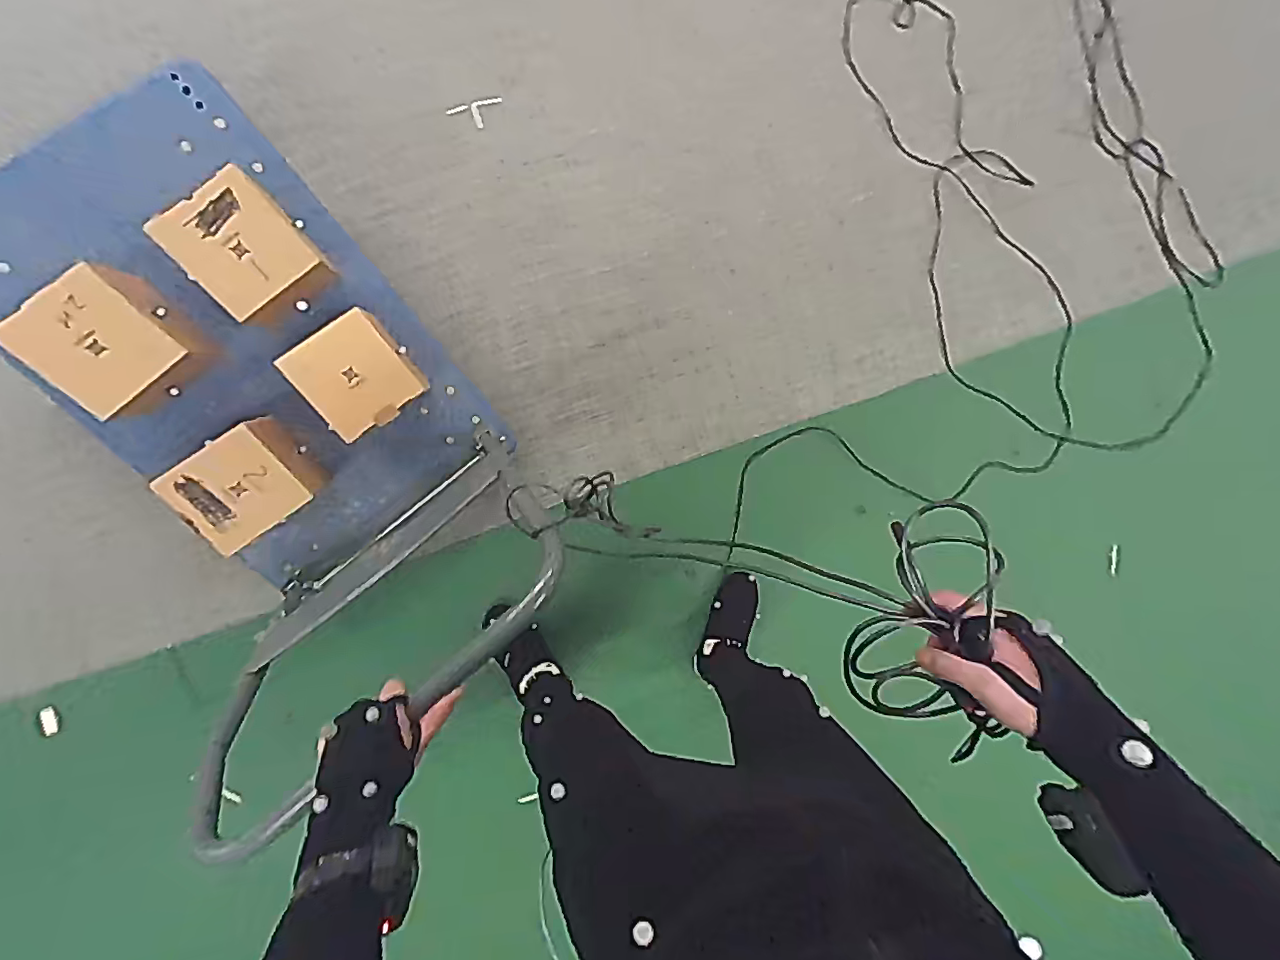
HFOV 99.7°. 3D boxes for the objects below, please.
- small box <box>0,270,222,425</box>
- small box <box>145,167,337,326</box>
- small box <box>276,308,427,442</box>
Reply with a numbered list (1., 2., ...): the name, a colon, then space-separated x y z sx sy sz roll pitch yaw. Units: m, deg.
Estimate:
1. small box: -0.854 -0.216 0.896 0.168 0.176 0.179 -44 111 -6
2. small box: -0.661 -0.382 0.924 0.168 0.176 0.179 -42 111 -5
3. small box: -0.524 -0.195 1.011 0.168 0.176 0.179 -39 112 -7
